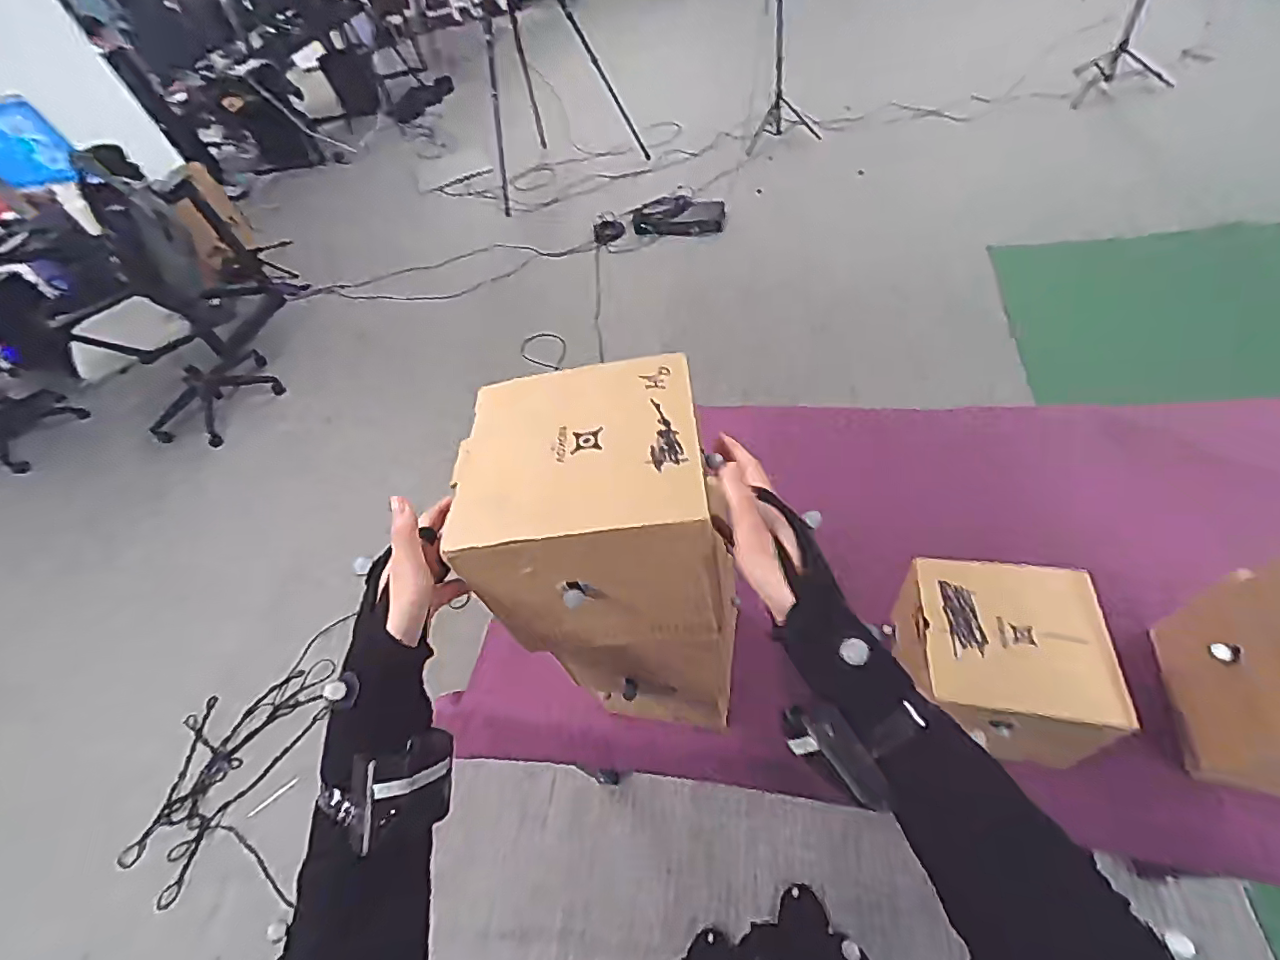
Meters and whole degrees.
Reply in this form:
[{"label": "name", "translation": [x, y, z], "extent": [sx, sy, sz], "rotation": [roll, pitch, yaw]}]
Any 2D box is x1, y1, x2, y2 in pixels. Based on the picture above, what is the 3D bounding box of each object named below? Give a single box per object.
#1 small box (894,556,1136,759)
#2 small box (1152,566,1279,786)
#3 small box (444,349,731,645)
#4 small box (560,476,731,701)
[{"label": "small box", "translation": [0.401, 0.206, 0.623], "extent": [0.179, 0.176, 0.168], "rotation": [3, 52, 14]}, {"label": "small box", "translation": [0.684, 0.213, 0.552], "extent": [0.168, 0.176, 0.179], "rotation": [6, 54, 18]}, {"label": "small box", "translation": [-0.027, 0.022, 0.443], "extent": [0.179, 0.176, 0.168], "rotation": [-8, 50, 7]}, {"label": "small box", "translation": [0.009, 0.114, 0.574], "extent": [0.168, 0.176, 0.179], "rotation": [-2, 51, 12]}]
